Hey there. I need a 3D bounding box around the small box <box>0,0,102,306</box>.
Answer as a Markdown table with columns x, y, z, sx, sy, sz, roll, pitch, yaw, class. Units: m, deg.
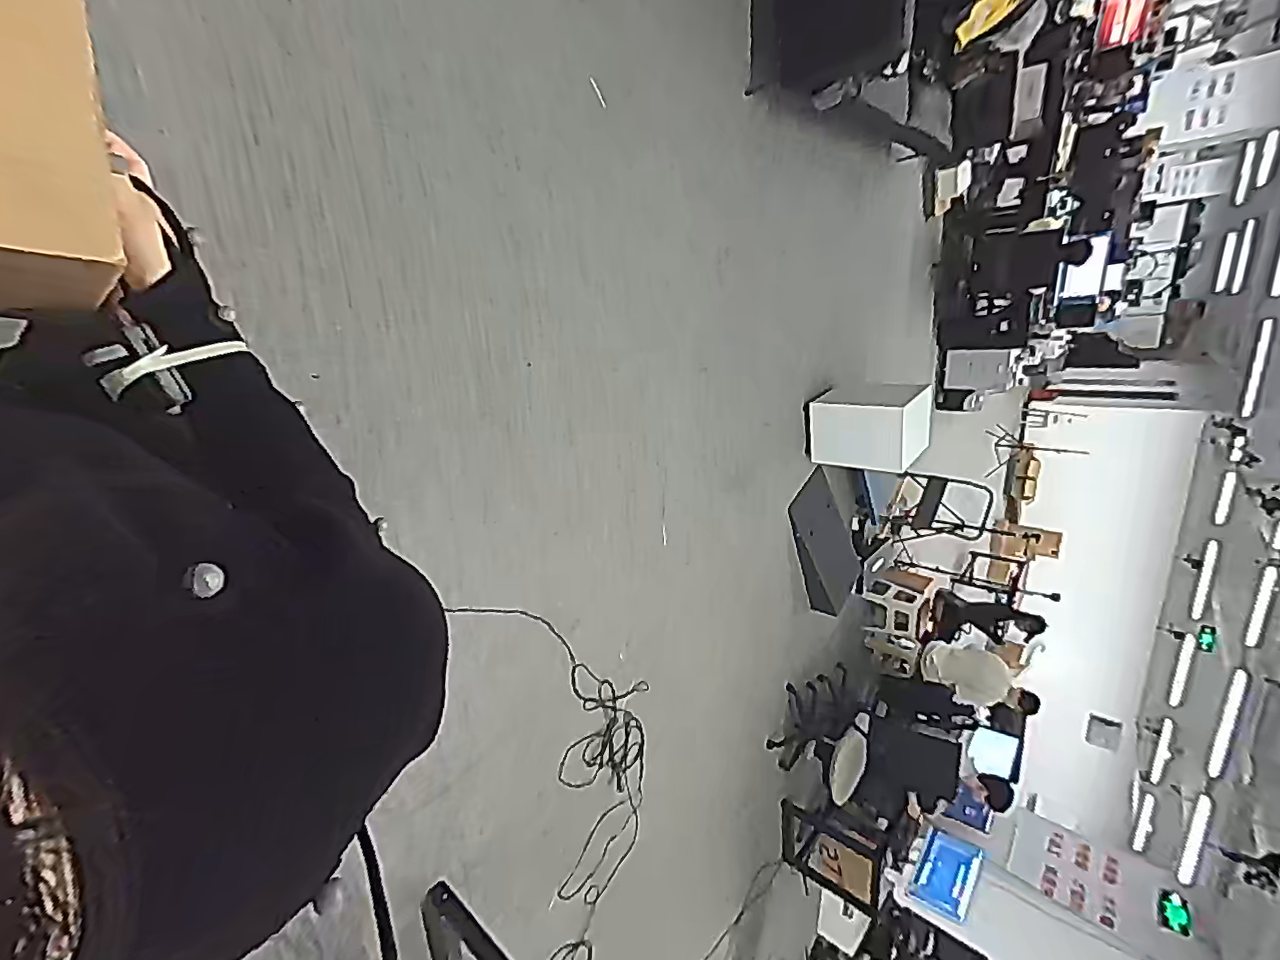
| x | y | z | sx | sy | sz | roll | pitch | yaw | class |
| --- | --- | --- | --- | --- | --- | --- | --- | --- | --- |
| -0.428 | -0.205 | 0.294 | 0.168 | 0.176 | 0.179 | -10 | 97 | -52 | small box |
